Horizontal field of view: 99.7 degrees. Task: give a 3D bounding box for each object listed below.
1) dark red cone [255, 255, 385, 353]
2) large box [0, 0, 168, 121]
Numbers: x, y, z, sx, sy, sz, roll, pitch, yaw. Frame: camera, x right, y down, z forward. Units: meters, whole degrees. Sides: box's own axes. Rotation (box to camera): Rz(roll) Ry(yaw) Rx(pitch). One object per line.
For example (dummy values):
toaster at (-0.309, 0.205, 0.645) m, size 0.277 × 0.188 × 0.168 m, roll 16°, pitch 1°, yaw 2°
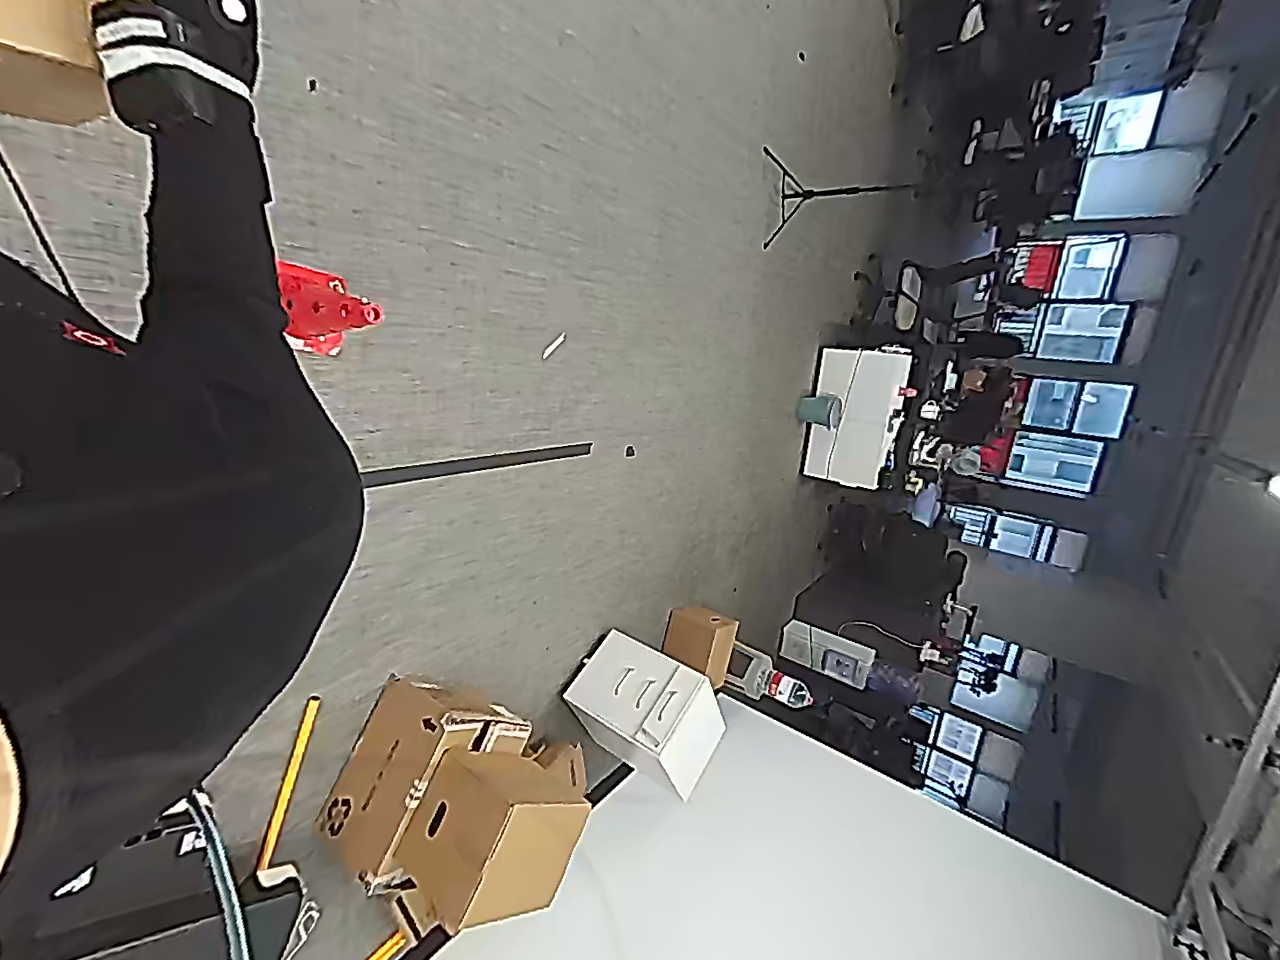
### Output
dark red cone at (-0.685, -0.380, 1.210) m, size 0.201 × 0.394 × 0.202 m, roll -3°, pitch 105°, yaw -53°
large box at (-0.565, -0.426, 0.270) m, size 0.408 × 0.320 × 0.320 m, roll -19°, pitch 121°, yaw -51°
